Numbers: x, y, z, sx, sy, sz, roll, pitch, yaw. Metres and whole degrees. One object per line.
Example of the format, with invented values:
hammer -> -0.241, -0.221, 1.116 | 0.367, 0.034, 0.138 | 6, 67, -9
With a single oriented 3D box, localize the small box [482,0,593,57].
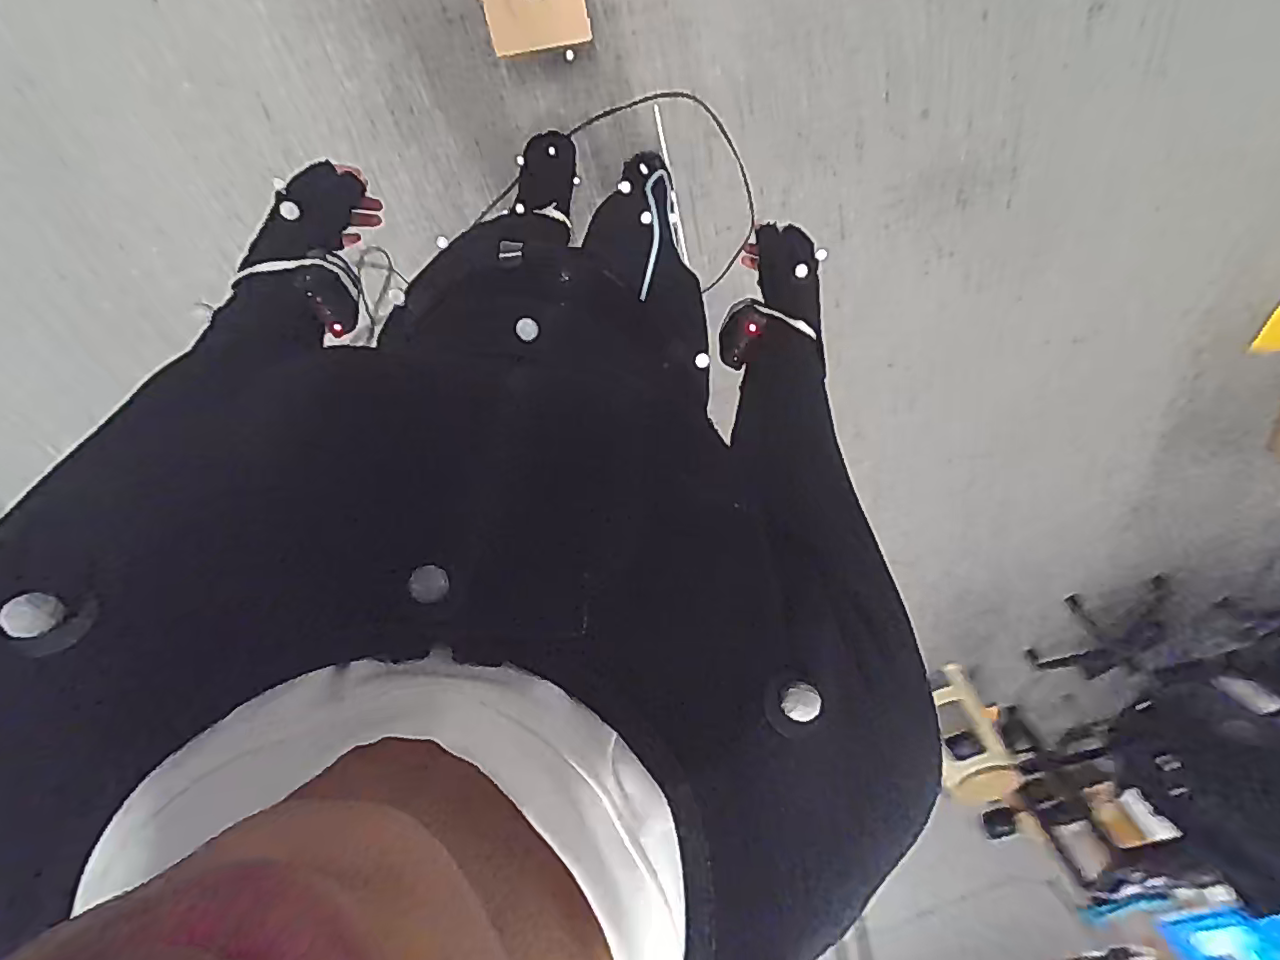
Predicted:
small box -> -0.187, -0.859, 0.948 | 0.179, 0.176, 0.168 | -10, 126, -1
